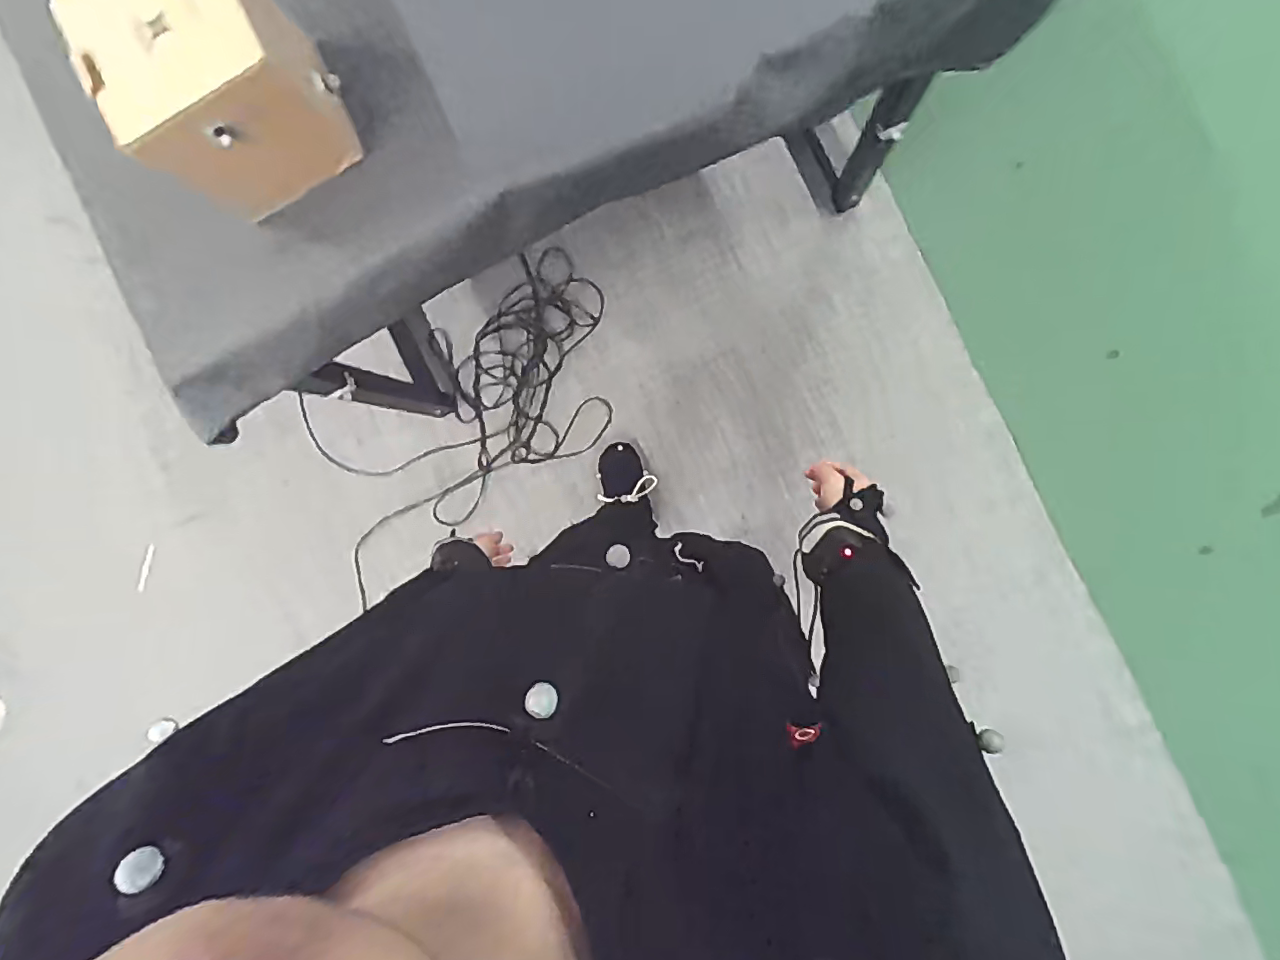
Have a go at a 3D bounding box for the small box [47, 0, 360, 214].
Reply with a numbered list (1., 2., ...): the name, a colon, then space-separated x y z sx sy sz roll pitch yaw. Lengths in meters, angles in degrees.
1. small box: -0.457 -0.433 0.594 0.179 0.176 0.168 -27 90 5
